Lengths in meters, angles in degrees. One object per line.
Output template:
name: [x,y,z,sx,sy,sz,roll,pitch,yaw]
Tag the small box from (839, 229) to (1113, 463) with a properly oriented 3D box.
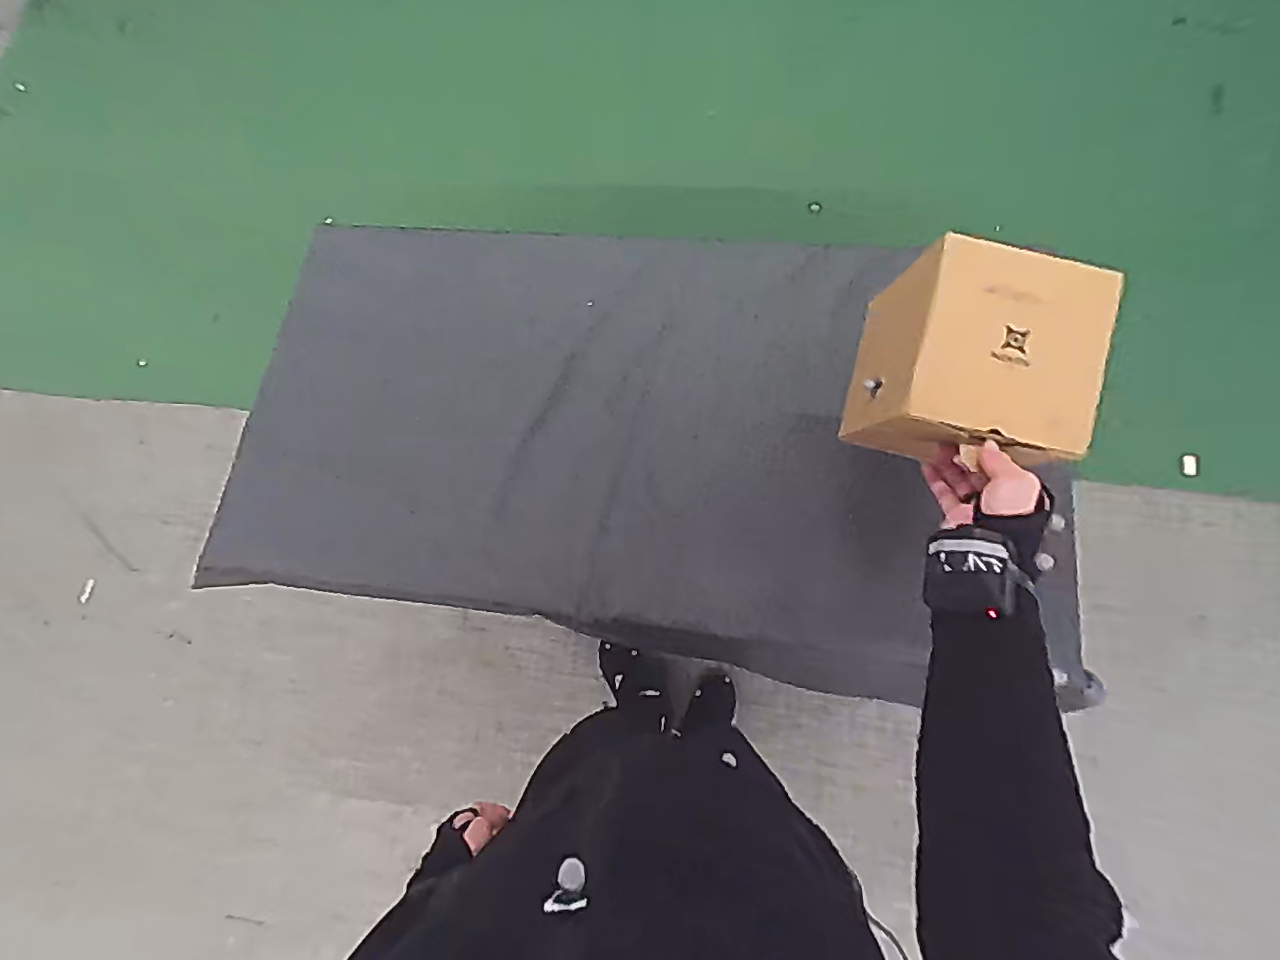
small box: [0.331,-0.122,0.570,0.168,0.176,0.179,15,87,-1]
